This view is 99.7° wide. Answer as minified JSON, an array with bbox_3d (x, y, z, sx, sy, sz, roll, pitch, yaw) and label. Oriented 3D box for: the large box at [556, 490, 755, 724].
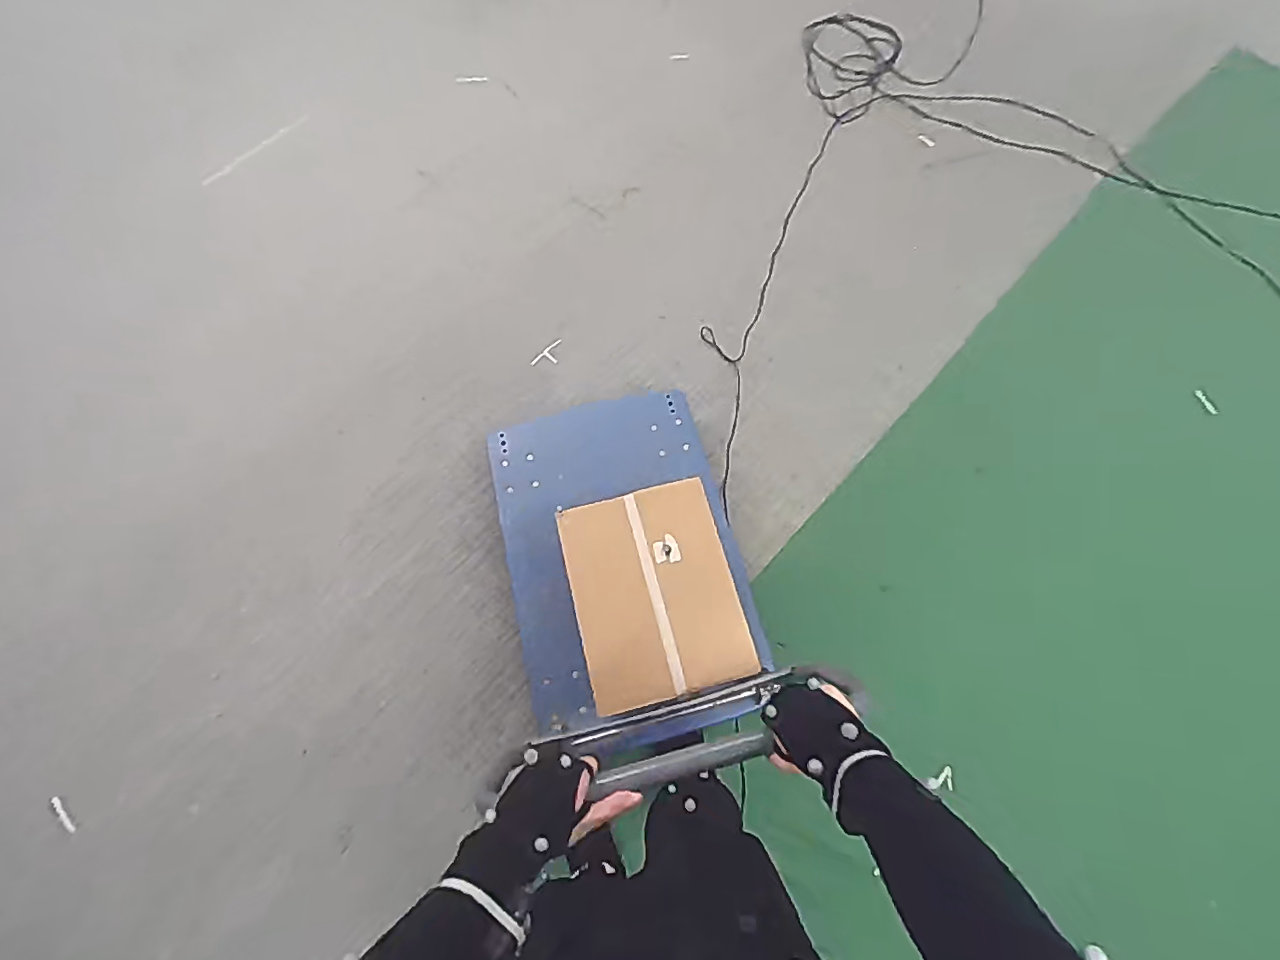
[{"bbox_3d":[0.025,0.289,1.209,0.320,0.320,0.408,-14,68,-5],"label":"large box"}]
